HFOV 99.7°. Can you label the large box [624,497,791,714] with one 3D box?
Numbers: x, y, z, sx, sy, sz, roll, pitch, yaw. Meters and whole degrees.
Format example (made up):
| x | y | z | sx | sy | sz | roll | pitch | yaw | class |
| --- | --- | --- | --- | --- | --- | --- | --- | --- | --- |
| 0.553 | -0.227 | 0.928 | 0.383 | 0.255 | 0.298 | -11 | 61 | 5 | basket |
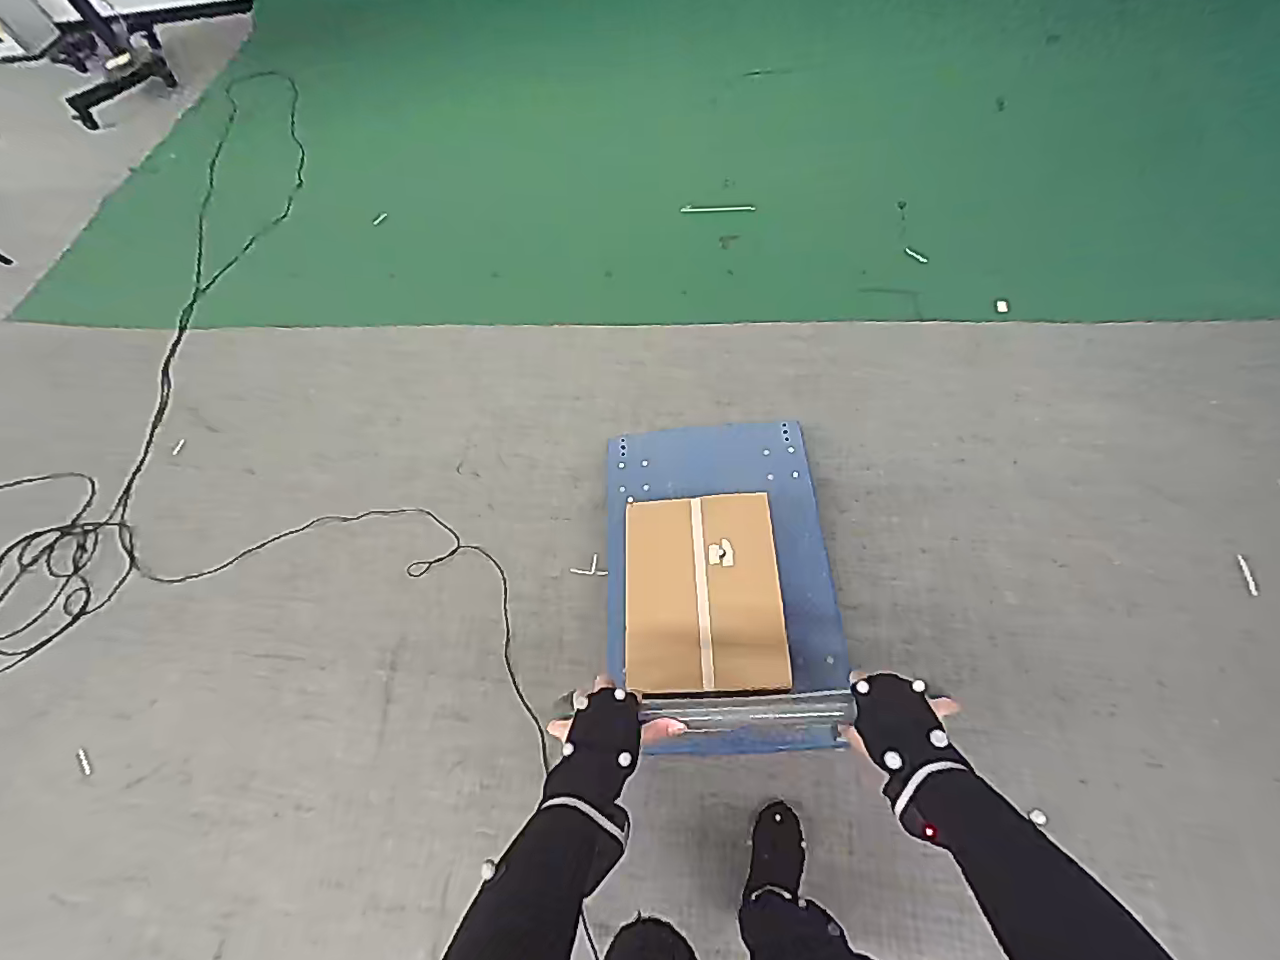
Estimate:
| x | y | z | sx | sy | sz | roll | pitch | yaw | class |
| --- | --- | --- | --- | --- | --- | --- | --- | --- | --- |
| 0.144 | 0.296 | 1.235 | 0.320 | 0.320 | 0.408 | -5 | 61 | 6 | large box |
